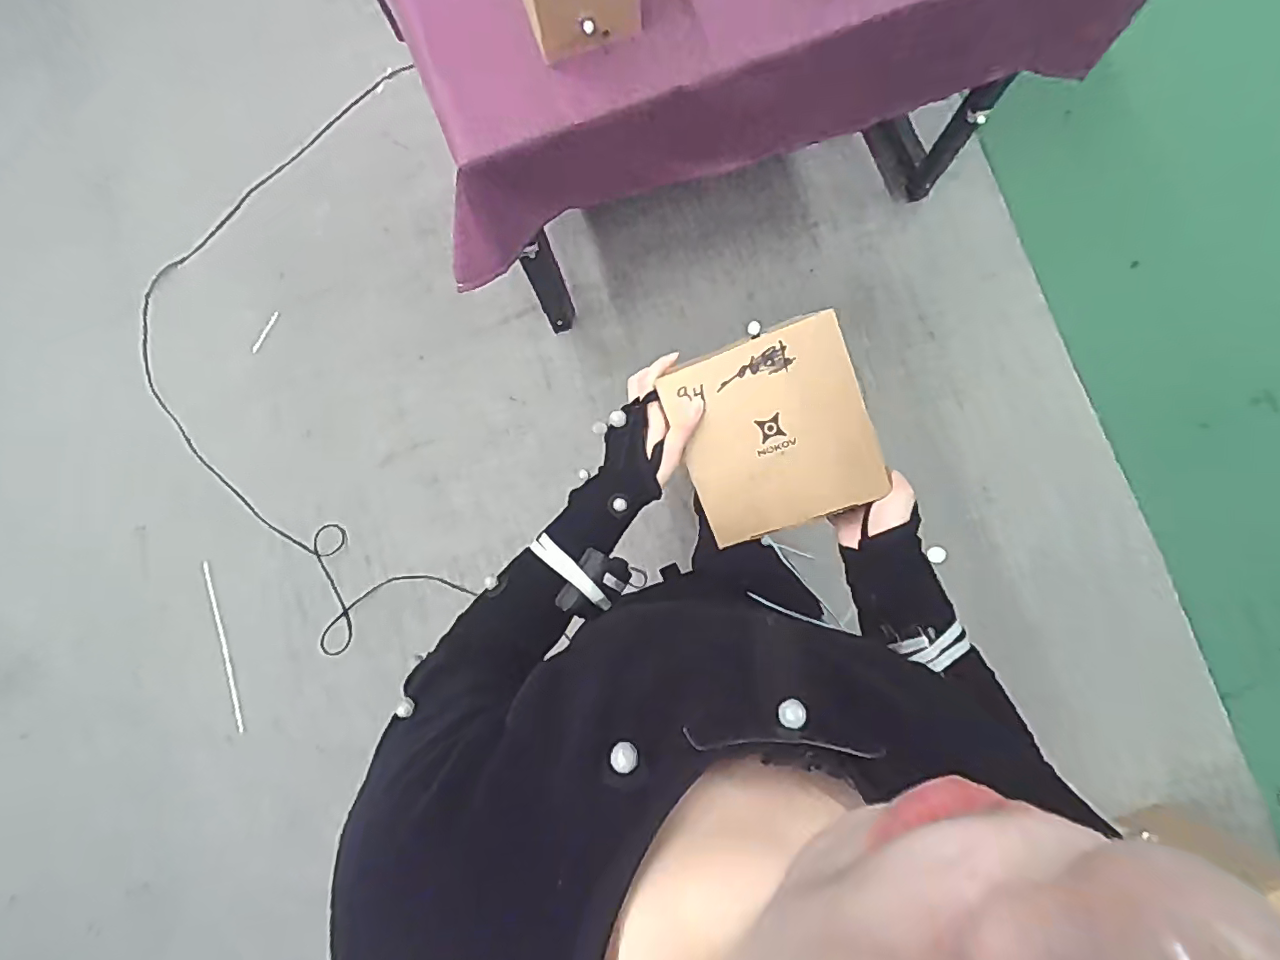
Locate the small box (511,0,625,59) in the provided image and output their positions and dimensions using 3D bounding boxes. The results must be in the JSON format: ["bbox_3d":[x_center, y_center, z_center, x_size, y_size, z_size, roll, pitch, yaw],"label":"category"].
[{"bbox_3d":[-0.128,-0.803,0.819,0.168,0.176,0.179,-21,83,0],"label":"small box"}]

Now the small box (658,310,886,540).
[{"bbox_3d":[0.132,-0.066,0.567,0.168,0.176,0.179,-20,102,13],"label":"small box"}]
